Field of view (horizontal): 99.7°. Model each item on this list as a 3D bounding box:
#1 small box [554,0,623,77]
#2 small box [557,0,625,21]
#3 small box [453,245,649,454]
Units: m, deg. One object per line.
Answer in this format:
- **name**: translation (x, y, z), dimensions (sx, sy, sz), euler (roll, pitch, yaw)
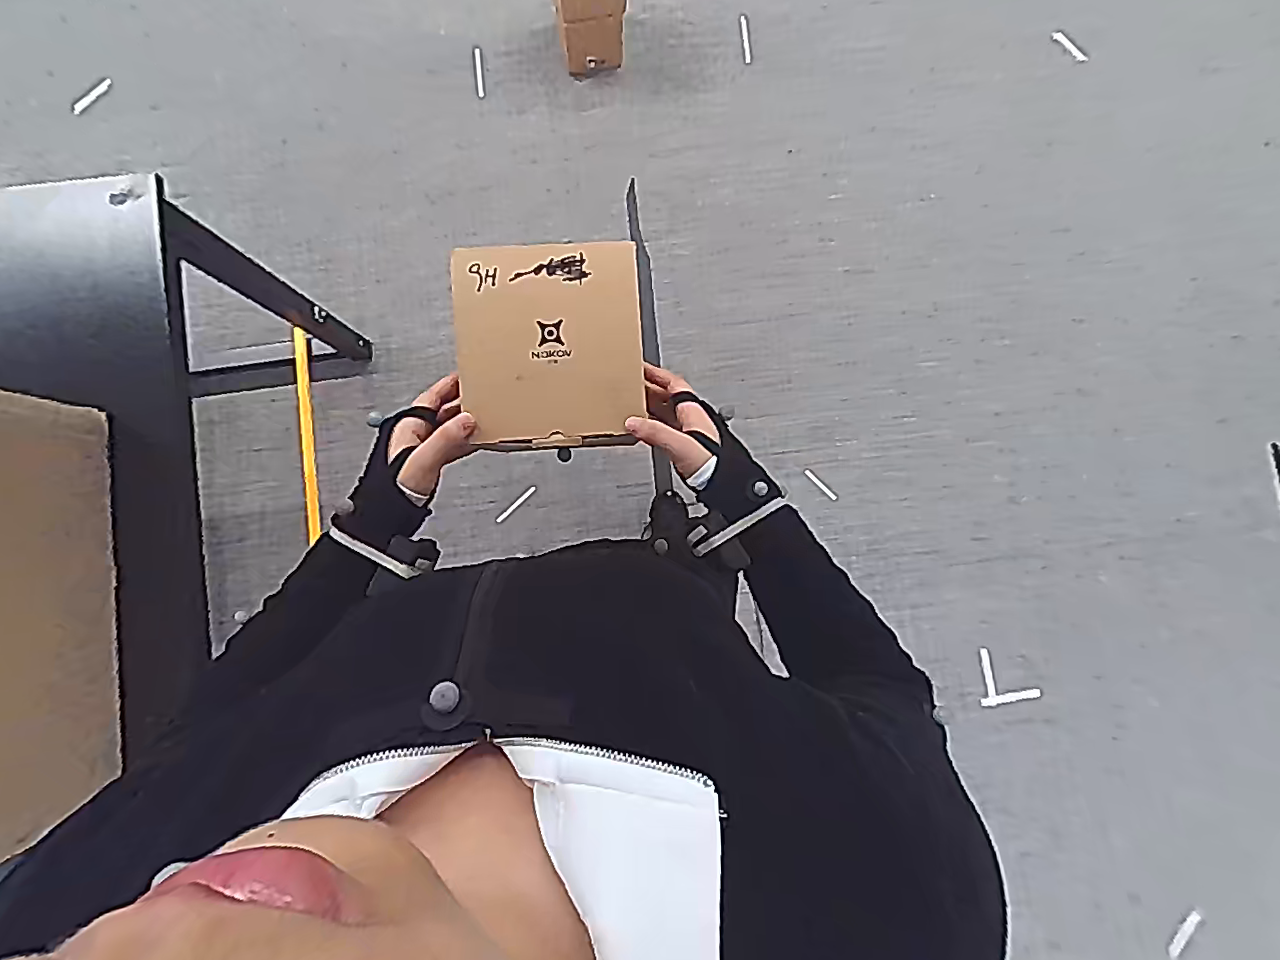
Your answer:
- **small box**: translation (-0.147, -1.289, 1.519), dimensions (0.168, 0.176, 0.179), euler (-14, 88, -3)
- **small box**: translation (-0.135, -1.303, 1.355), dimensions (0.179, 0.176, 0.168), euler (-11, 87, -3)
- **small box**: translation (-0.080, -0.120, 0.556), dimensions (0.168, 0.176, 0.179), euler (-4, 93, -3)
